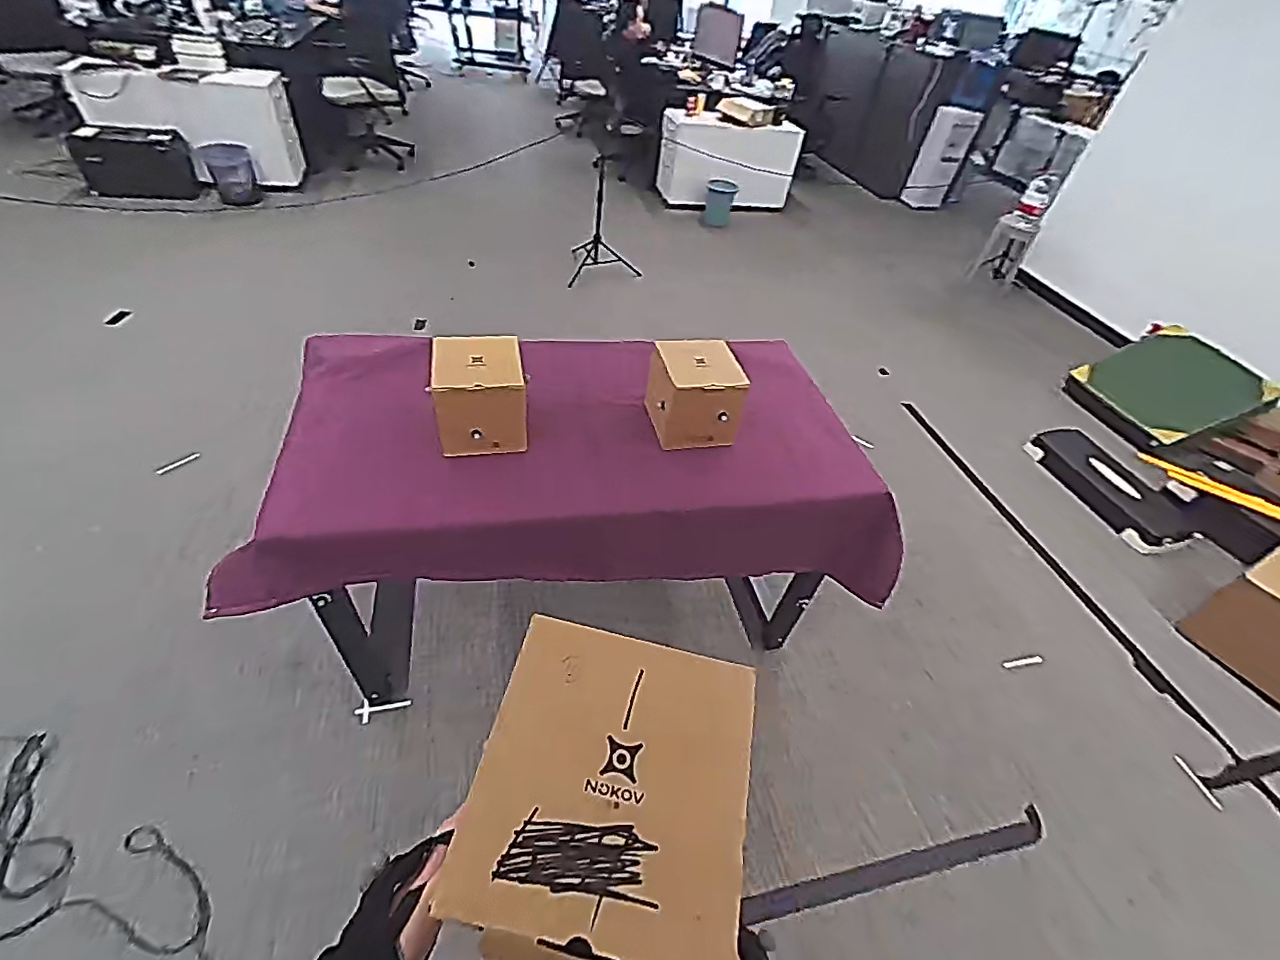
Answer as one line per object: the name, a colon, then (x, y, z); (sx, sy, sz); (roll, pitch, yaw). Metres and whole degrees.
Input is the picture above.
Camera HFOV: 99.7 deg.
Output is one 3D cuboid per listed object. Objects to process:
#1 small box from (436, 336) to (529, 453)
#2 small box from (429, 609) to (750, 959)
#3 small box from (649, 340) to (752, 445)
small box: (-0.316, -0.175, 1.098); (0.168, 0.176, 0.179); (-5, 48, -15)
small box: (-0.027, 0.226, 0.401); (0.168, 0.176, 0.179); (14, 52, 2)
small box: (0.124, -0.189, 1.188); (0.168, 0.176, 0.179); (-4, 46, -14)
